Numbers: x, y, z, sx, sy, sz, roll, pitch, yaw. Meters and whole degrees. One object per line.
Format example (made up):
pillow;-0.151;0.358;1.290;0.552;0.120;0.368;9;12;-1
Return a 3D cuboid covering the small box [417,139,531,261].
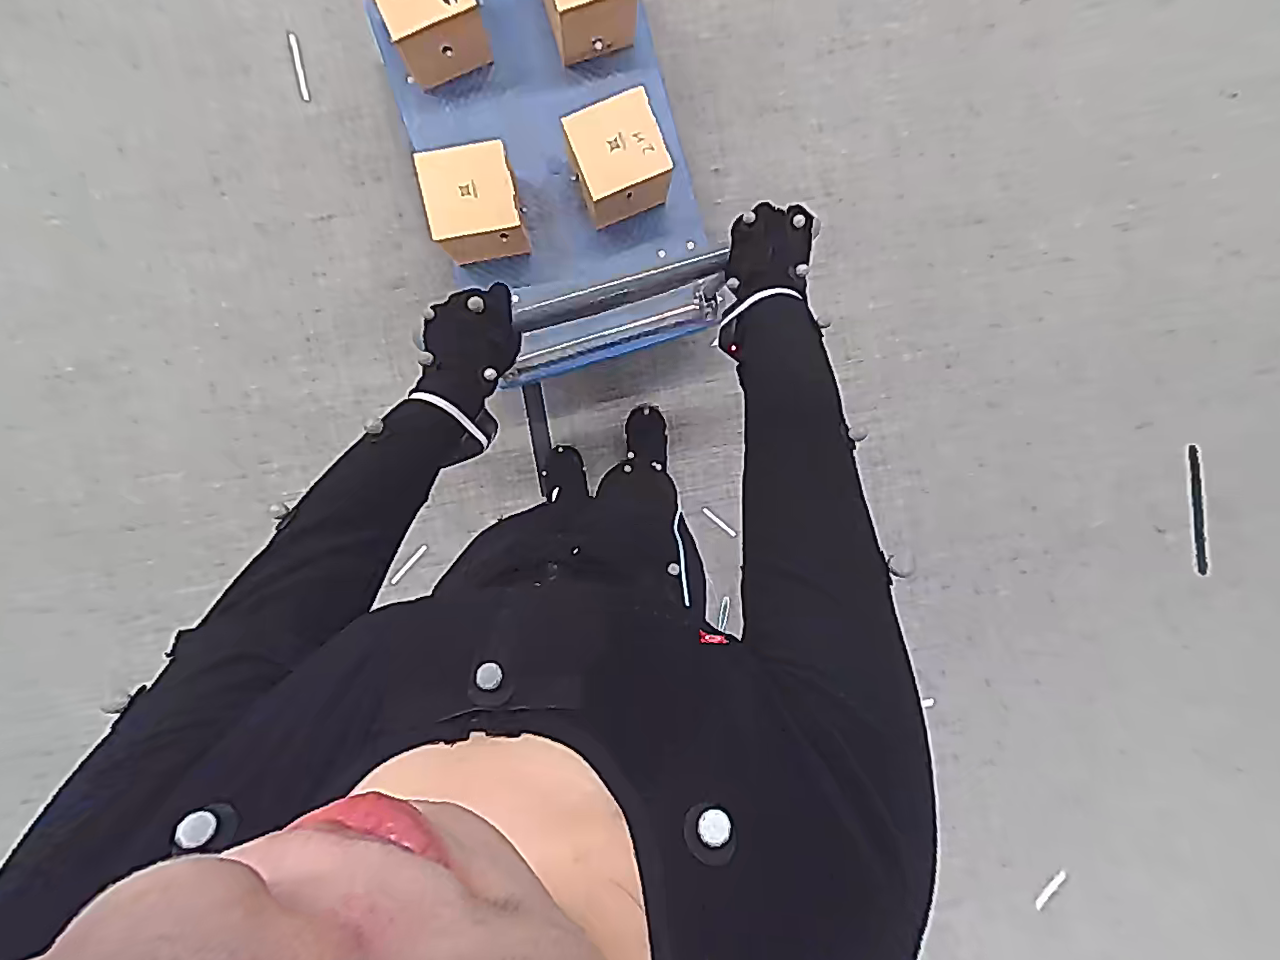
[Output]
small box;-0.339;-0.576;1.135;0.179;0.176;0.168;-12;97;-3

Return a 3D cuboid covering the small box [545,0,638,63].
small box;-0.109;-1.007;1.095;0.168;0.176;0.179;-19;98;-1

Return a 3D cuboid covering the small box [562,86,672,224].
small box;-0.046;-0.670;1.139;0.179;0.176;0.168;-23;98;0
